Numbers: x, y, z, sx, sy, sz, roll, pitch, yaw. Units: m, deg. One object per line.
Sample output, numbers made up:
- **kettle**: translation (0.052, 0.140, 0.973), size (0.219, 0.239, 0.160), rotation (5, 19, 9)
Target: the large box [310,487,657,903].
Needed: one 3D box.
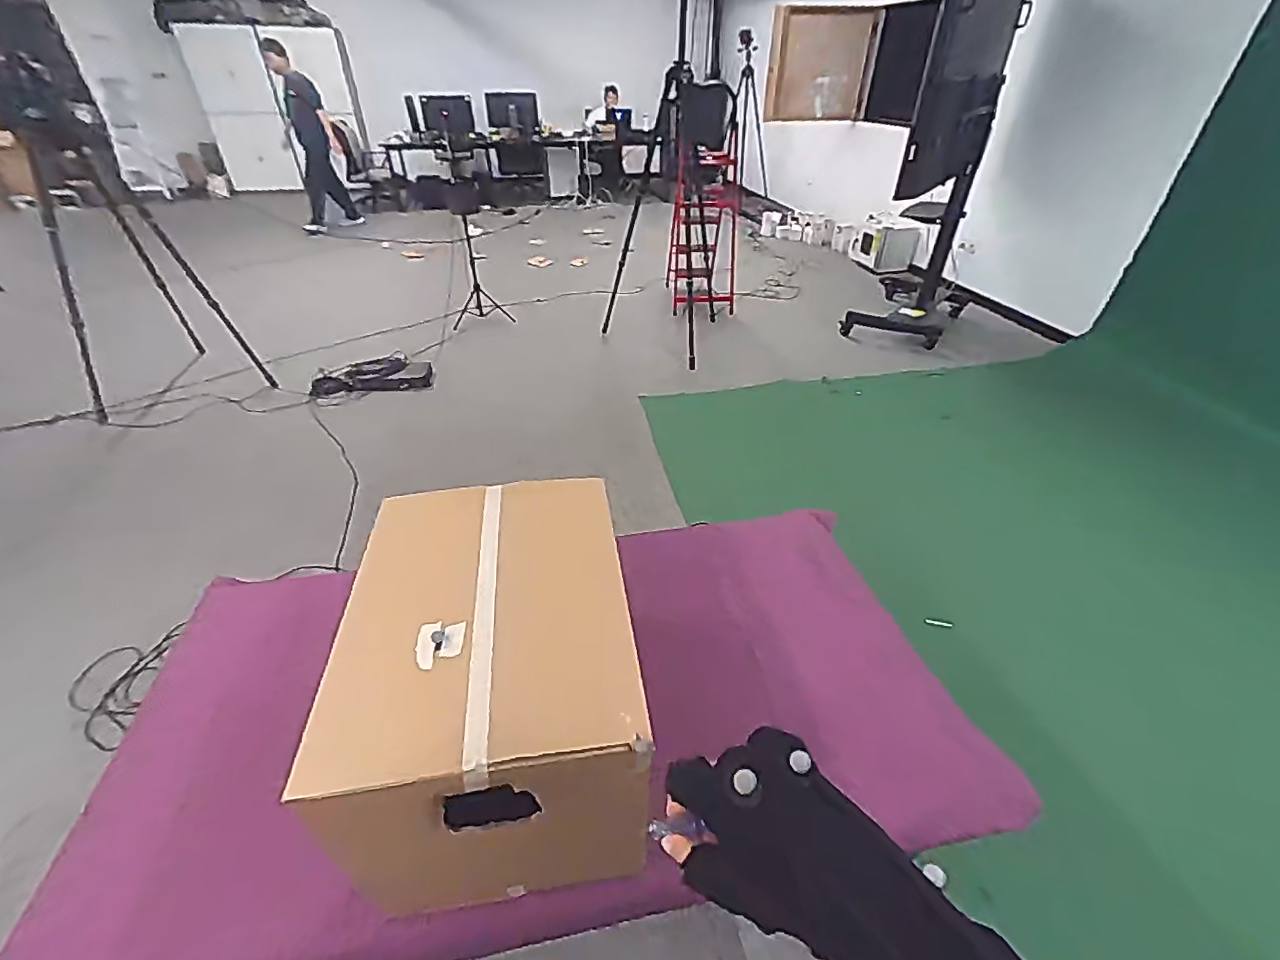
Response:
- **large box**: translation (-0.174, 0.257, 0.726), size (0.320, 0.320, 0.408), rotation (-5, 38, -8)
